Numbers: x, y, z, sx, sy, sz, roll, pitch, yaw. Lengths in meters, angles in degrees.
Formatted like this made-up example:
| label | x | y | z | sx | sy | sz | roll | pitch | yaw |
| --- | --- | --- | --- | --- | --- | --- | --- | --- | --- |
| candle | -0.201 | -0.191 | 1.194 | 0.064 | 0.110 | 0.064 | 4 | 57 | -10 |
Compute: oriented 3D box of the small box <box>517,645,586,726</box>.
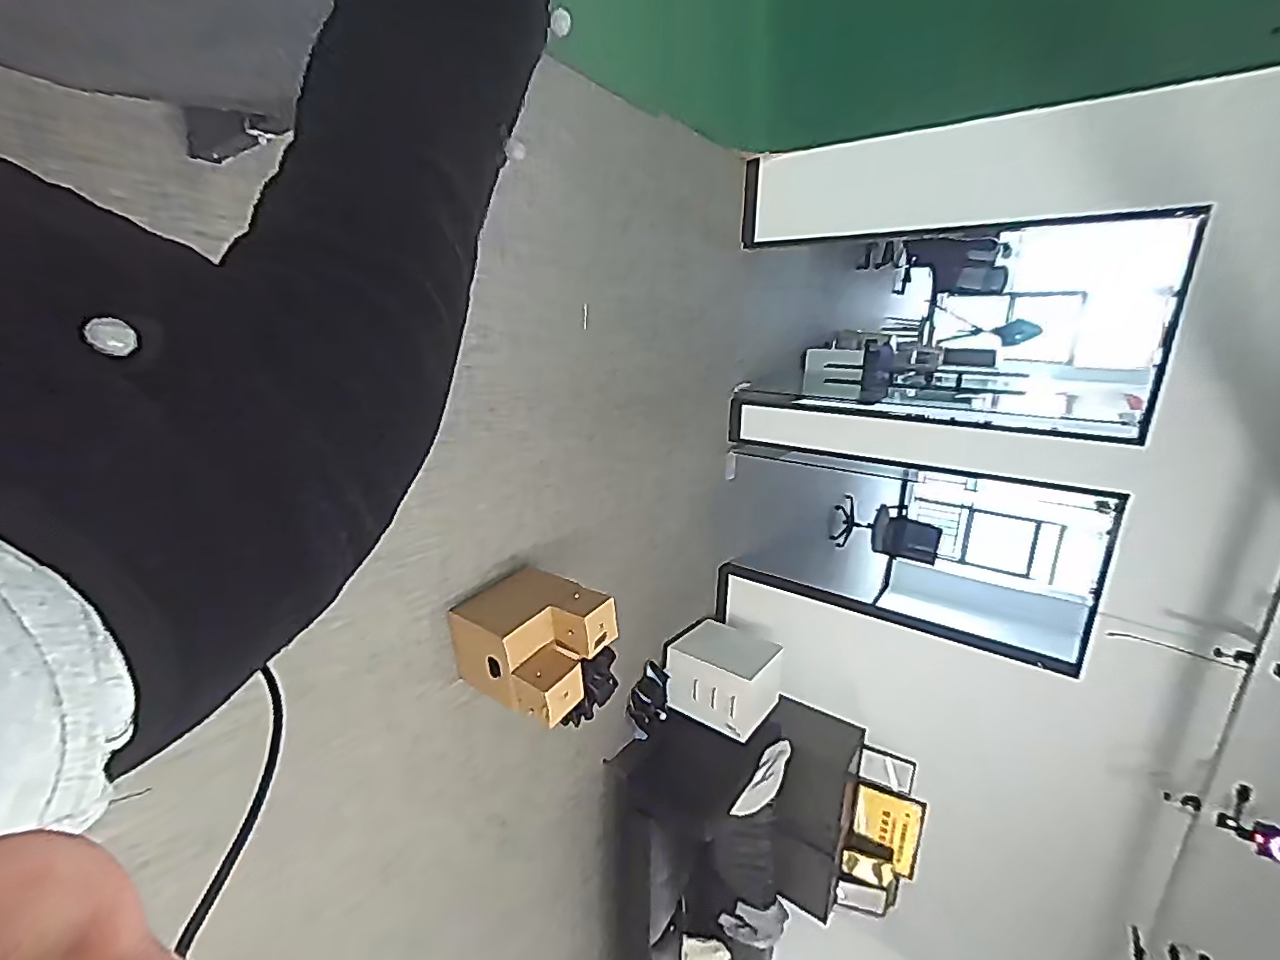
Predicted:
| label | x | y | z | sx | sy | sz | roll | pitch | yaw |
| --- | --- | --- | --- | --- | --- | --- | --- | --- | --- |
| small box | -0.316 | 0.717 | 1.907 | 0.179 | 0.176 | 0.168 | -34 | 129 | -48 |

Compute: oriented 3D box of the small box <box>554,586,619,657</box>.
| label | x | y | z | sx | sy | sz | roll | pitch | yaw |
| --- | --- | --- | --- | --- | --- | --- | --- | --- | --- |
| small box | -0.200 | 0.522 | 2.015 | 0.168 | 0.176 | 0.179 | -27 | 118 | -49 |
